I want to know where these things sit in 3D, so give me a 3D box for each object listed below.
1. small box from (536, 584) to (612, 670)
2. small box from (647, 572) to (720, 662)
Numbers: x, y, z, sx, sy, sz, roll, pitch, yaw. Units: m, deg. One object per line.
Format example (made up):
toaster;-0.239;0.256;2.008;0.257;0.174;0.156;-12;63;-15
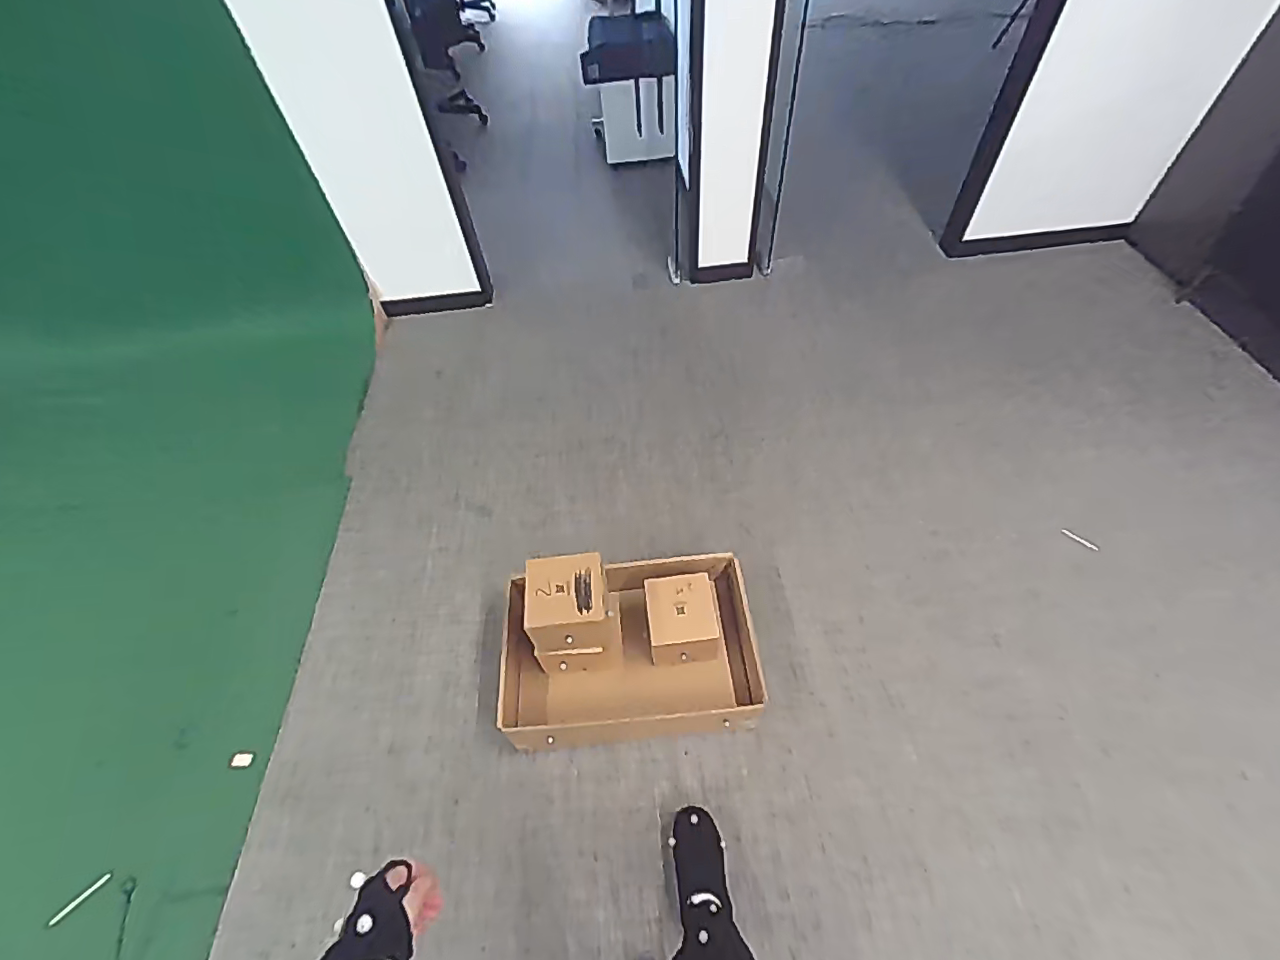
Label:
small box;-0.163;0.386;1.396;0.168;0.176;0.179;-2;54;1
small box;0.110;0.358;1.393;0.168;0.176;0.179;-6;54;0
